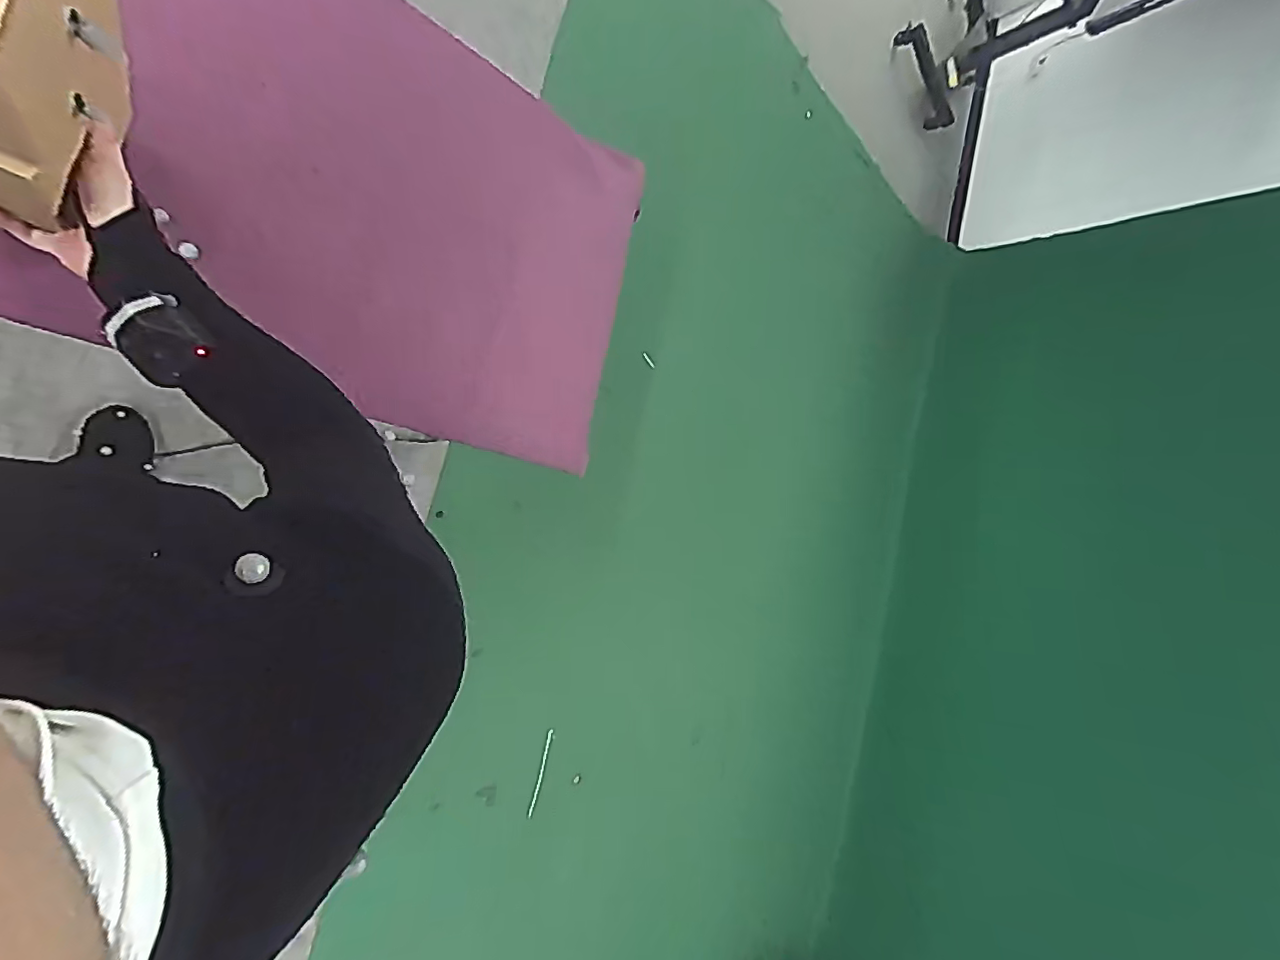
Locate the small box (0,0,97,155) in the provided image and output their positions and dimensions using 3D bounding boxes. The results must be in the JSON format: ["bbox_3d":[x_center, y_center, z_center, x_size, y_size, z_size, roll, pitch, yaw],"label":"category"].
[{"bbox_3d":[-0.389,-0.304,0.257,0.168,0.176,0.179,17,86,-42],"label":"small box"}]

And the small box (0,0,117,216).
[{"bbox_3d":[-0.500,-0.318,0.377,0.168,0.176,0.179,19,85,-43],"label":"small box"}]
